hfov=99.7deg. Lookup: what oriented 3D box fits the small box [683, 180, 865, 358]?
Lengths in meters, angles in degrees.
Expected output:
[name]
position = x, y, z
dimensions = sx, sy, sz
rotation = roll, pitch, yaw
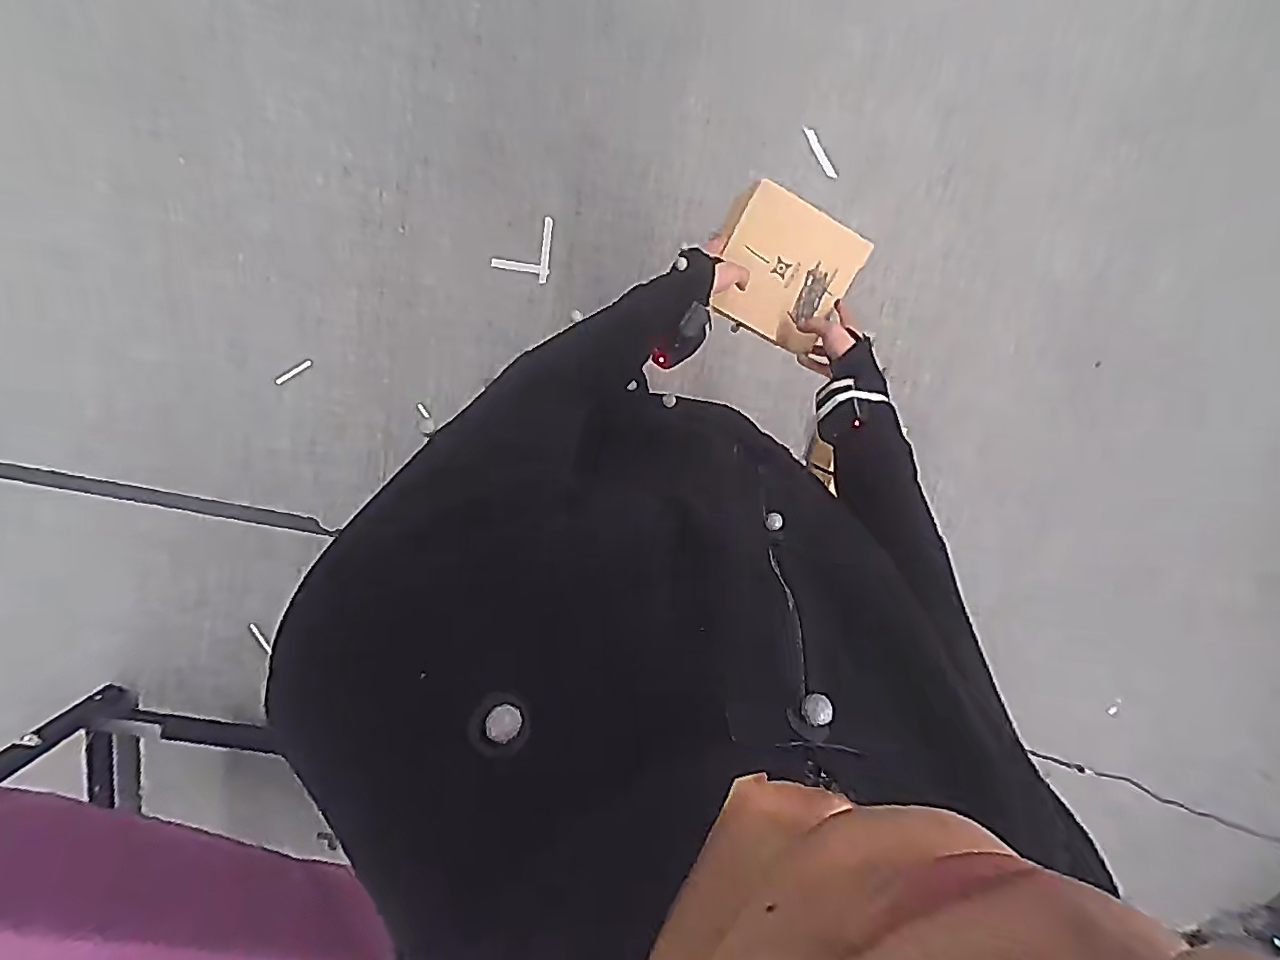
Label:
[small box]
position = 0.179, -0.299, 0.784
dimensions = 0.179, 0.176, 0.168
rotation = 25, 107, -10
